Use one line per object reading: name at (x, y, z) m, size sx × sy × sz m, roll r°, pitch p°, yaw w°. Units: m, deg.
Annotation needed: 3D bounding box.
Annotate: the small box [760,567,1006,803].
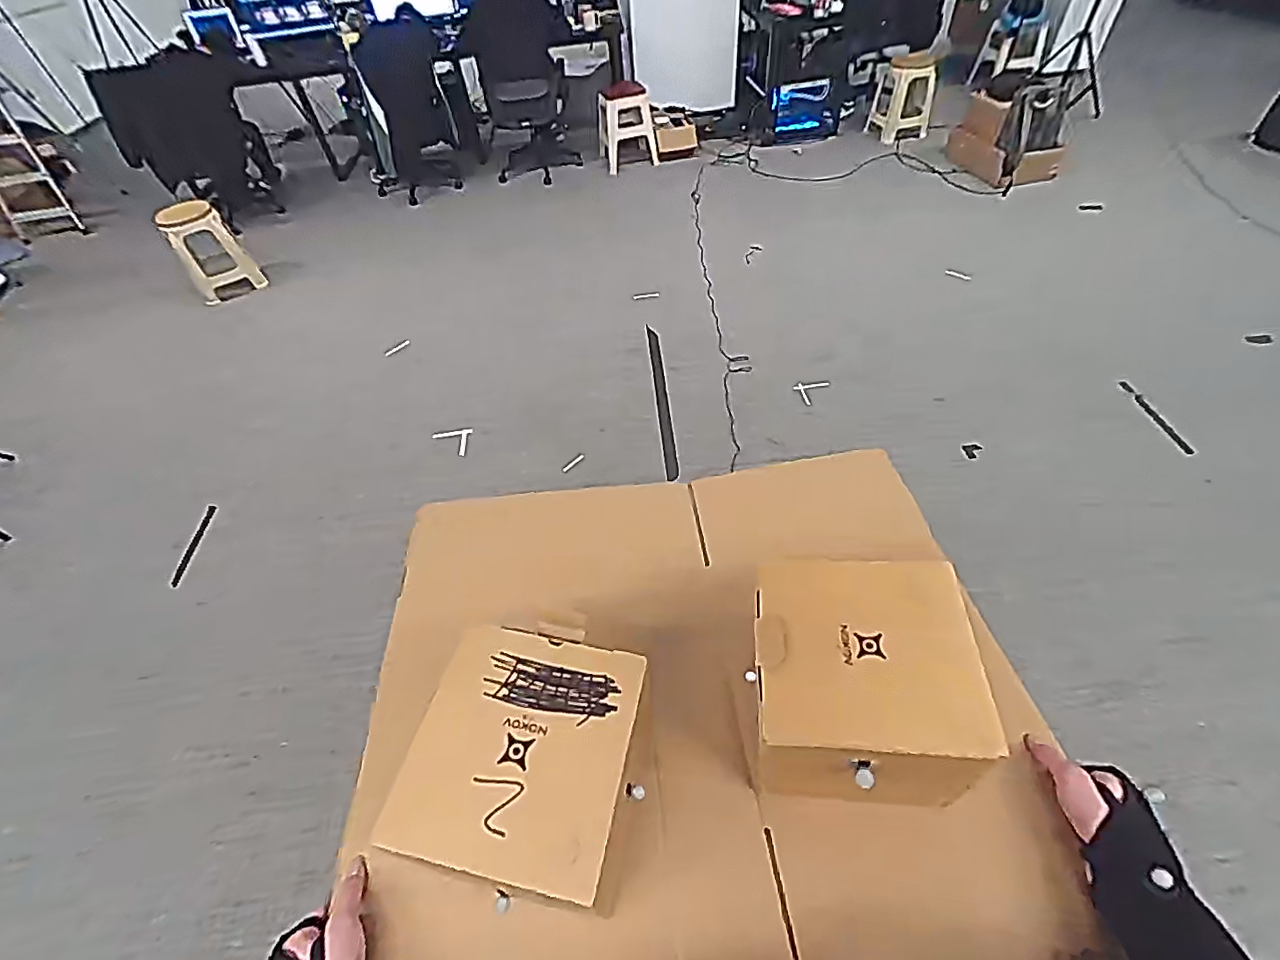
small box at (0.208, 0.199, 0.523) m, size 0.179 × 0.176 × 0.168 m, roll -2°, pitch 48°, yaw 12°
